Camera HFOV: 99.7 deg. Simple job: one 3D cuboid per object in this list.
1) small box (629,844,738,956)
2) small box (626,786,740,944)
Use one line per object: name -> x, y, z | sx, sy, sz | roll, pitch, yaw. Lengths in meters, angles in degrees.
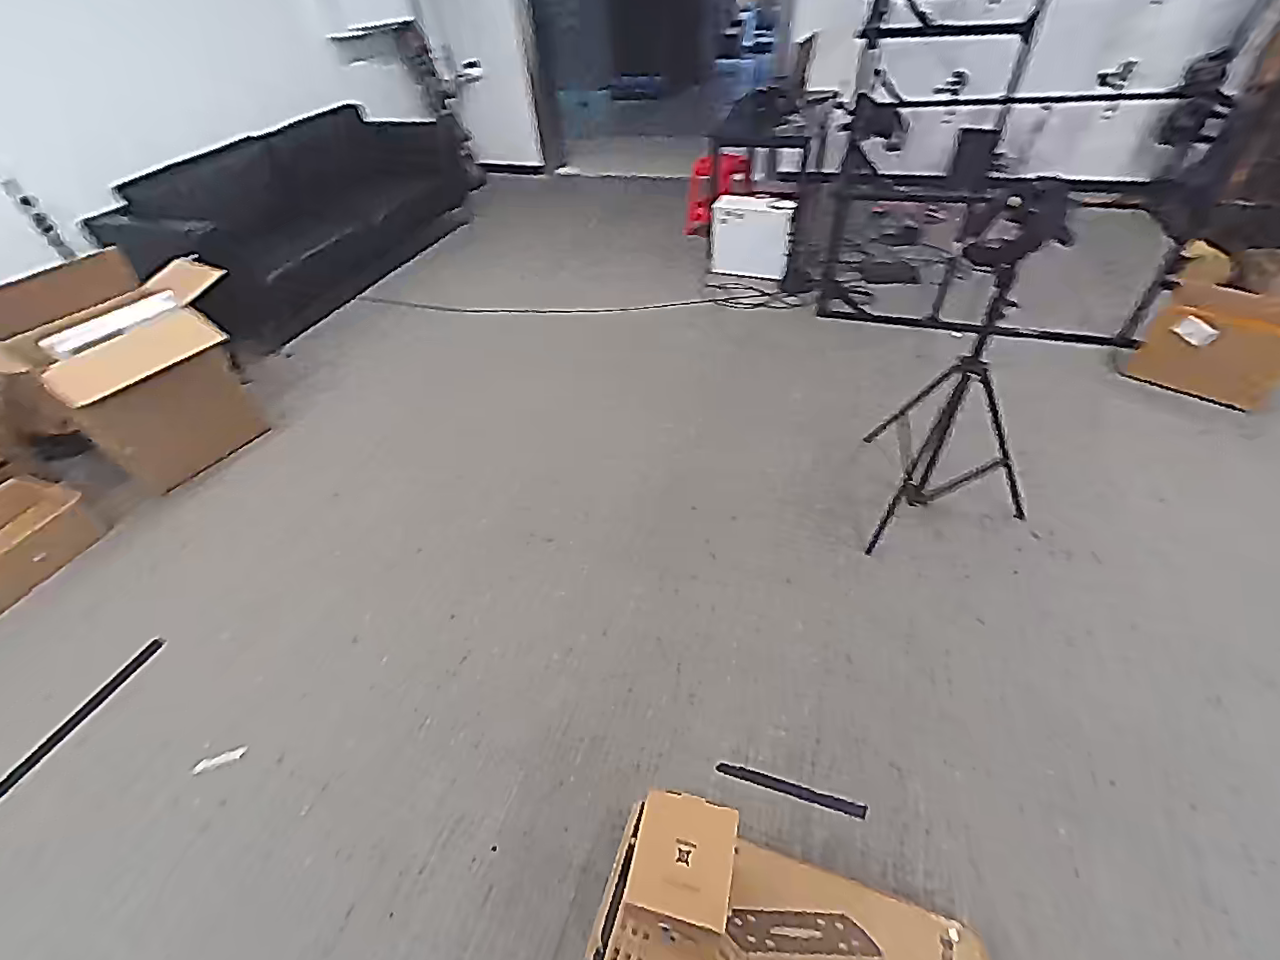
small box -> 0.091, 0.798, 1.069 | 0.168, 0.176, 0.179 | 13, 47, 17
small box -> 0.079, 0.681, 0.956 | 0.168, 0.176, 0.179 | 8, 46, 13
